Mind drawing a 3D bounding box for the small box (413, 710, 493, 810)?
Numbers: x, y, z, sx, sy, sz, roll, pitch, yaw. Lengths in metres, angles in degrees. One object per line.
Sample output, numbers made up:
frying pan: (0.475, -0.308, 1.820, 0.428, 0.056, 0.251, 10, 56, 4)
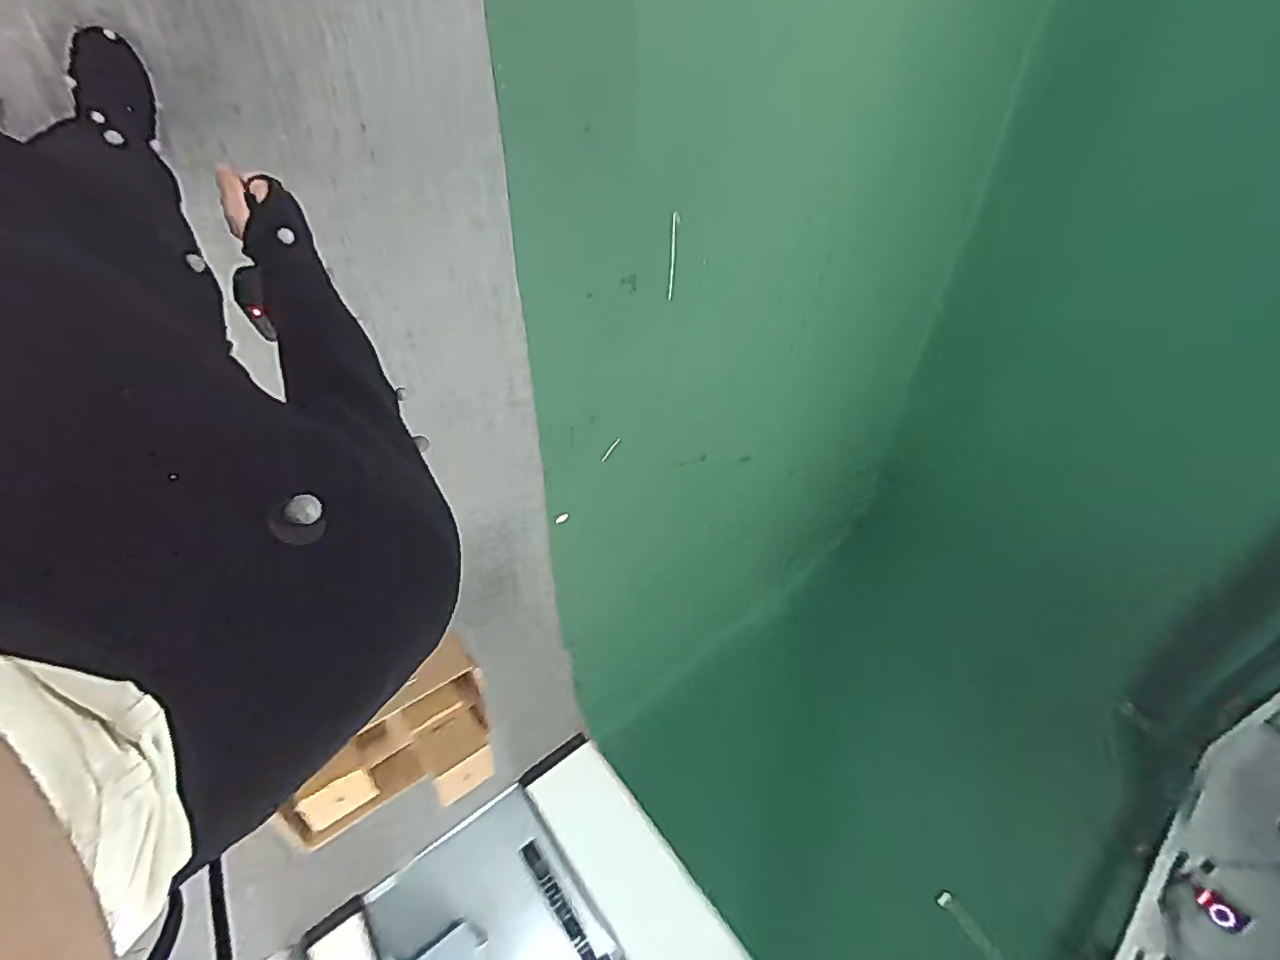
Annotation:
small box: (-0.560, 0.833, 1.621, 0.168, 0.176, 0.179, -24, 134, -34)
